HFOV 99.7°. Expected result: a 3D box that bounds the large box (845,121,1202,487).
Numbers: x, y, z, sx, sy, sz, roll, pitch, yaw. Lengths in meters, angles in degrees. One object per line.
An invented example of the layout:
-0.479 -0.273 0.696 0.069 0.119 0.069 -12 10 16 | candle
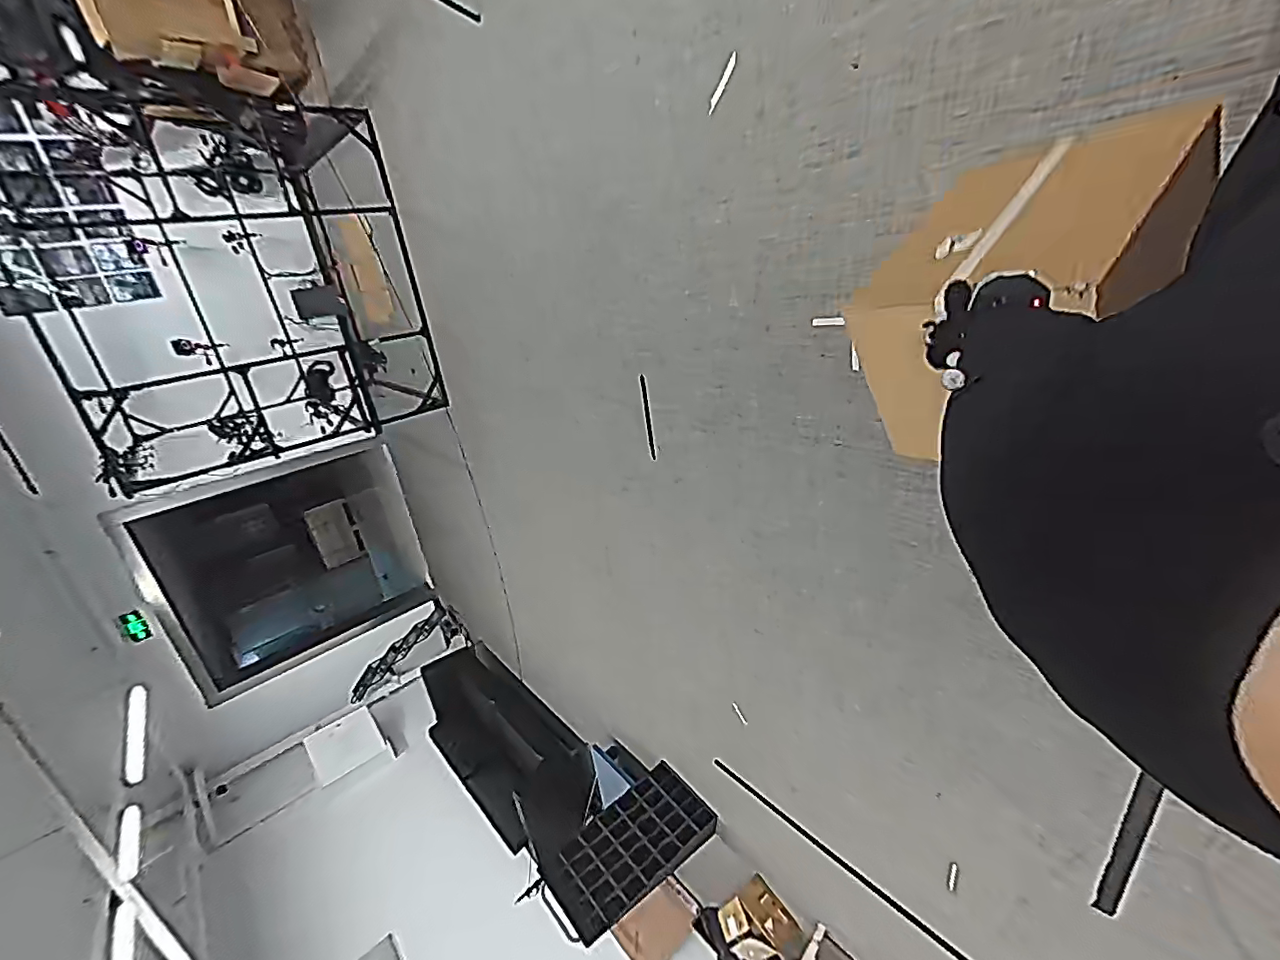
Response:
0.598 -0.253 0.837 0.320 0.408 0.320 16 148 55 | large box
